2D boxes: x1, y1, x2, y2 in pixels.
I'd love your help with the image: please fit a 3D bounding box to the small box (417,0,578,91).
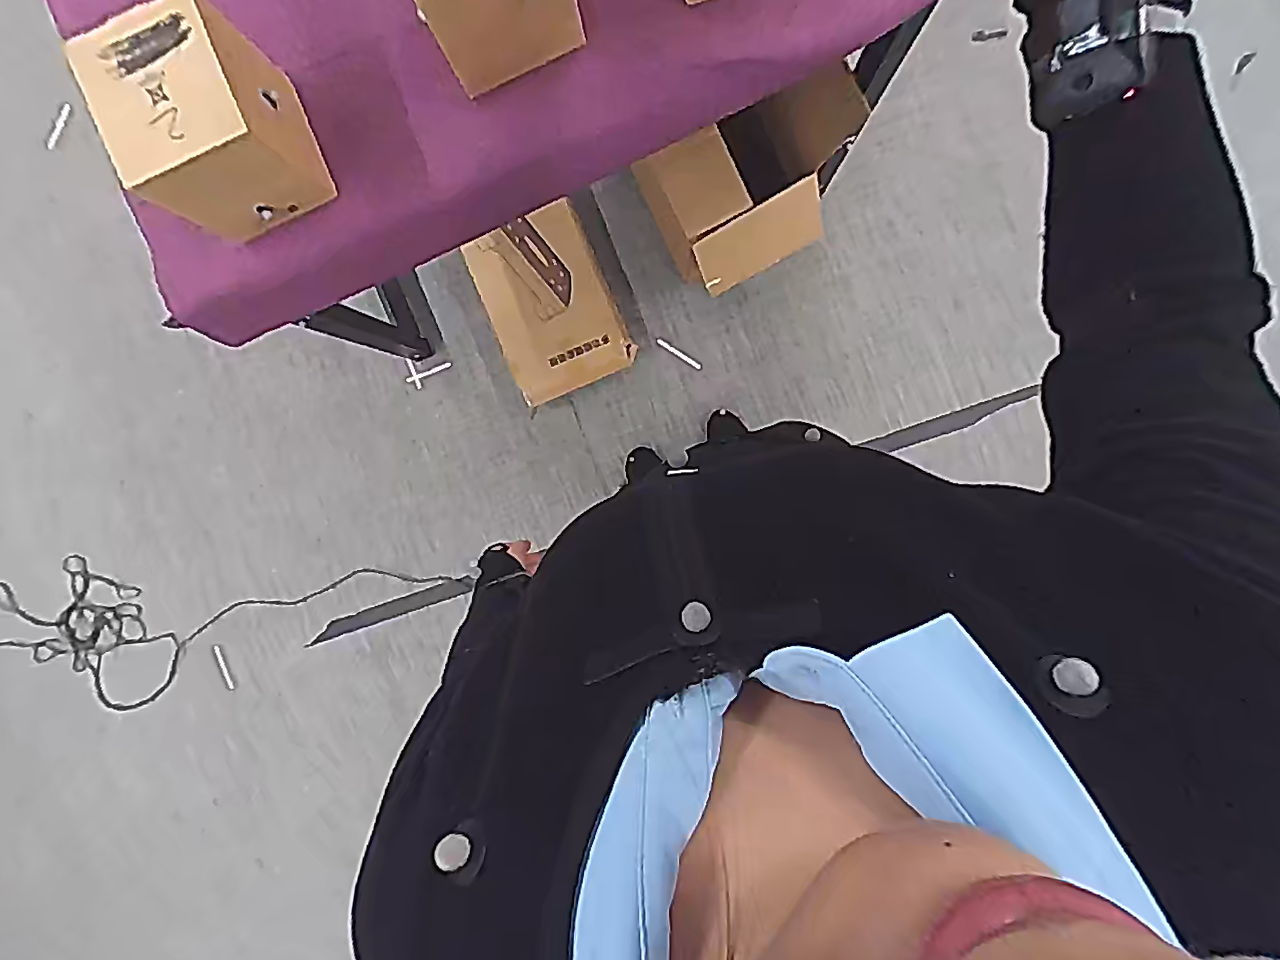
[{"bbox_3d":[-0.184,-0.624,0.646,0.179,0.176,0.168,-22,90,5],"label":"small box"}]
